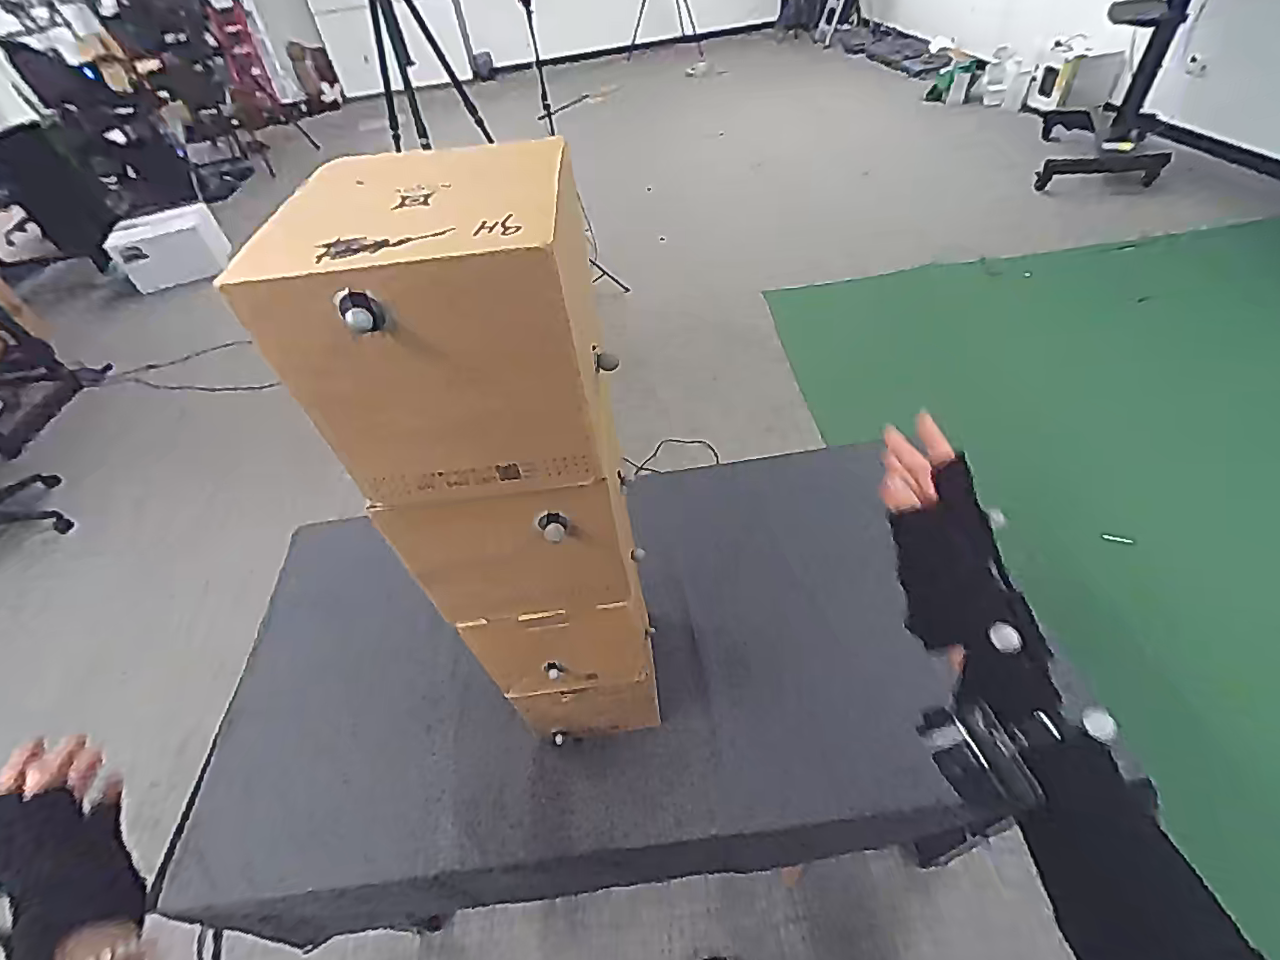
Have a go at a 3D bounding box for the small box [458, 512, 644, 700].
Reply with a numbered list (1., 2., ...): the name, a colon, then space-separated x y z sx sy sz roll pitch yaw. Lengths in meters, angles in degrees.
1. small box: -0.090 0.126 0.620 0.168 0.176 0.179 -8 46 1

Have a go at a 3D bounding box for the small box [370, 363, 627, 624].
1. small box: -0.106 0.015 0.500 0.179 0.176 0.168 -7 46 2

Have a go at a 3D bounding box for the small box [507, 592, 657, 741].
1. small box: -0.072 0.237 0.736 0.168 0.176 0.179 -9 45 1

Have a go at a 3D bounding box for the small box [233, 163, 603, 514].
1. small box: -0.120 -0.099 0.382 0.168 0.176 0.179 -6 46 2
